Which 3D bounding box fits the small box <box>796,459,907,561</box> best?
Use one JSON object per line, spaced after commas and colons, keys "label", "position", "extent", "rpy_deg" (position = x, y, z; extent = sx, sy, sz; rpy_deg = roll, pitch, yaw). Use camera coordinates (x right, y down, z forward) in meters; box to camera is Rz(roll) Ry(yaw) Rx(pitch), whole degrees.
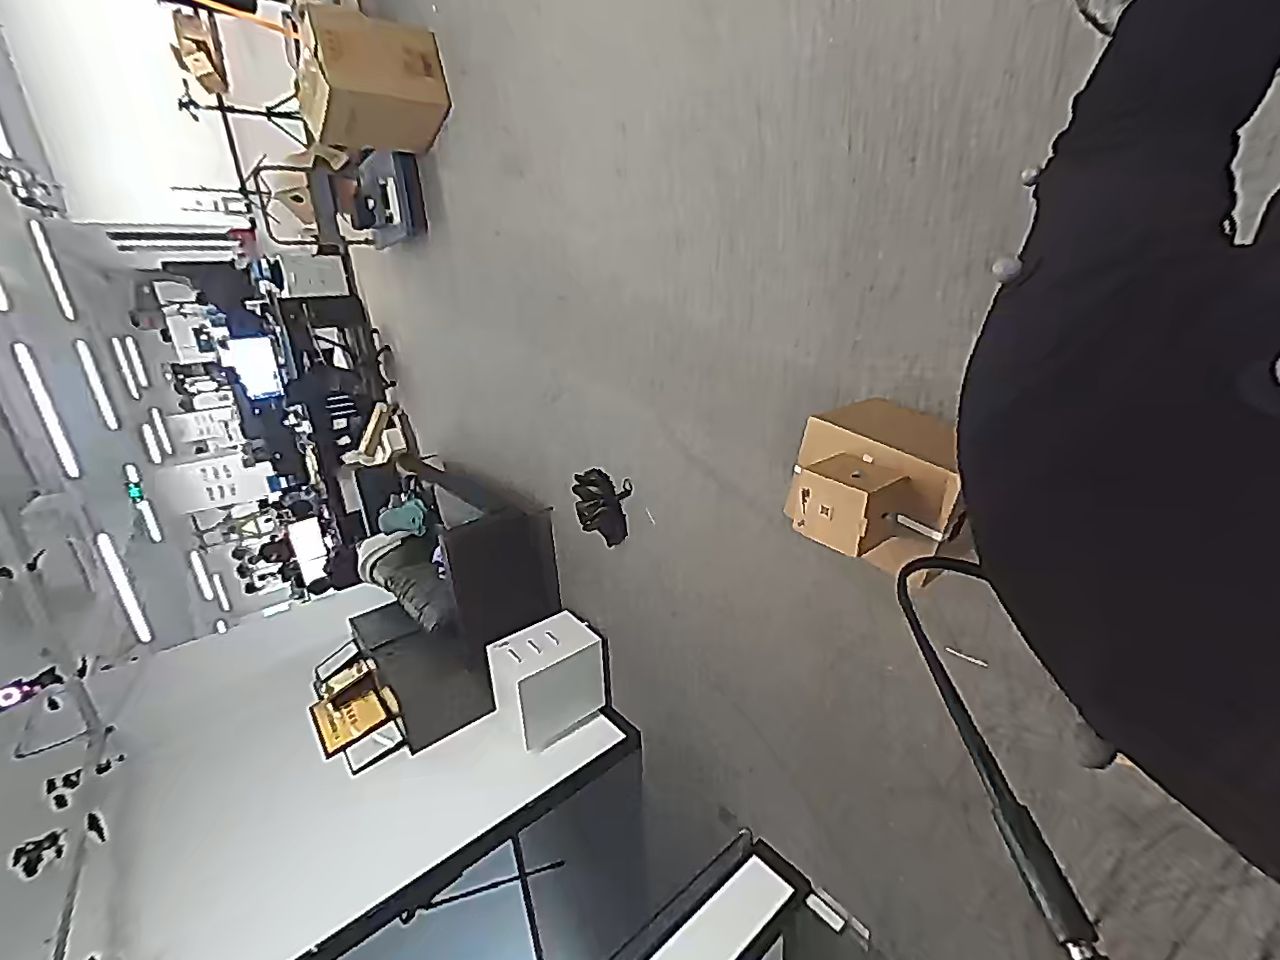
{"label": "small box", "position": [0.498, 0.061, 1.276], "extent": [0.179, 0.176, 0.168], "rpy_deg": [27, 124, 45]}
